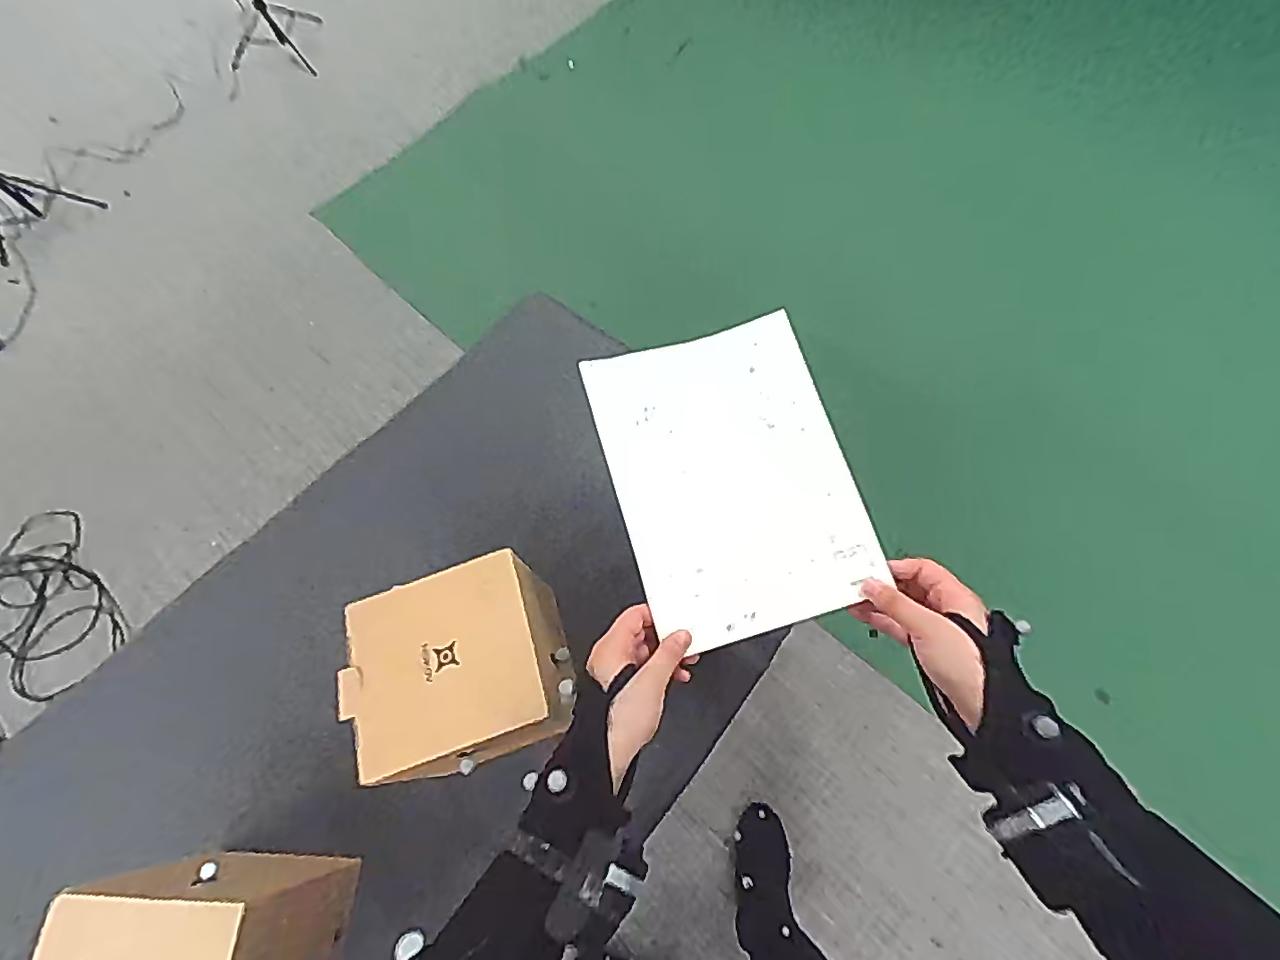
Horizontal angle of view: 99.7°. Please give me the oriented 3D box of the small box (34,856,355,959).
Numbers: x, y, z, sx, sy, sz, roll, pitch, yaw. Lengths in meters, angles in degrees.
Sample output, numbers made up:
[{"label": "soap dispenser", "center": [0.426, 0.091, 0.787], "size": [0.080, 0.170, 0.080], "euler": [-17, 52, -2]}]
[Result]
[{"label": "small box", "center": [-0.391, 0.450, 0.480], "size": [0.179, 0.176, 0.168], "euler": [-2, 65, 6]}]

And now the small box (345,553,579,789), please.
[{"label": "small box", "center": [-0.173, 0.199, 0.569], "size": [0.179, 0.176, 0.168], "euler": [-20, 64, -1]}]
